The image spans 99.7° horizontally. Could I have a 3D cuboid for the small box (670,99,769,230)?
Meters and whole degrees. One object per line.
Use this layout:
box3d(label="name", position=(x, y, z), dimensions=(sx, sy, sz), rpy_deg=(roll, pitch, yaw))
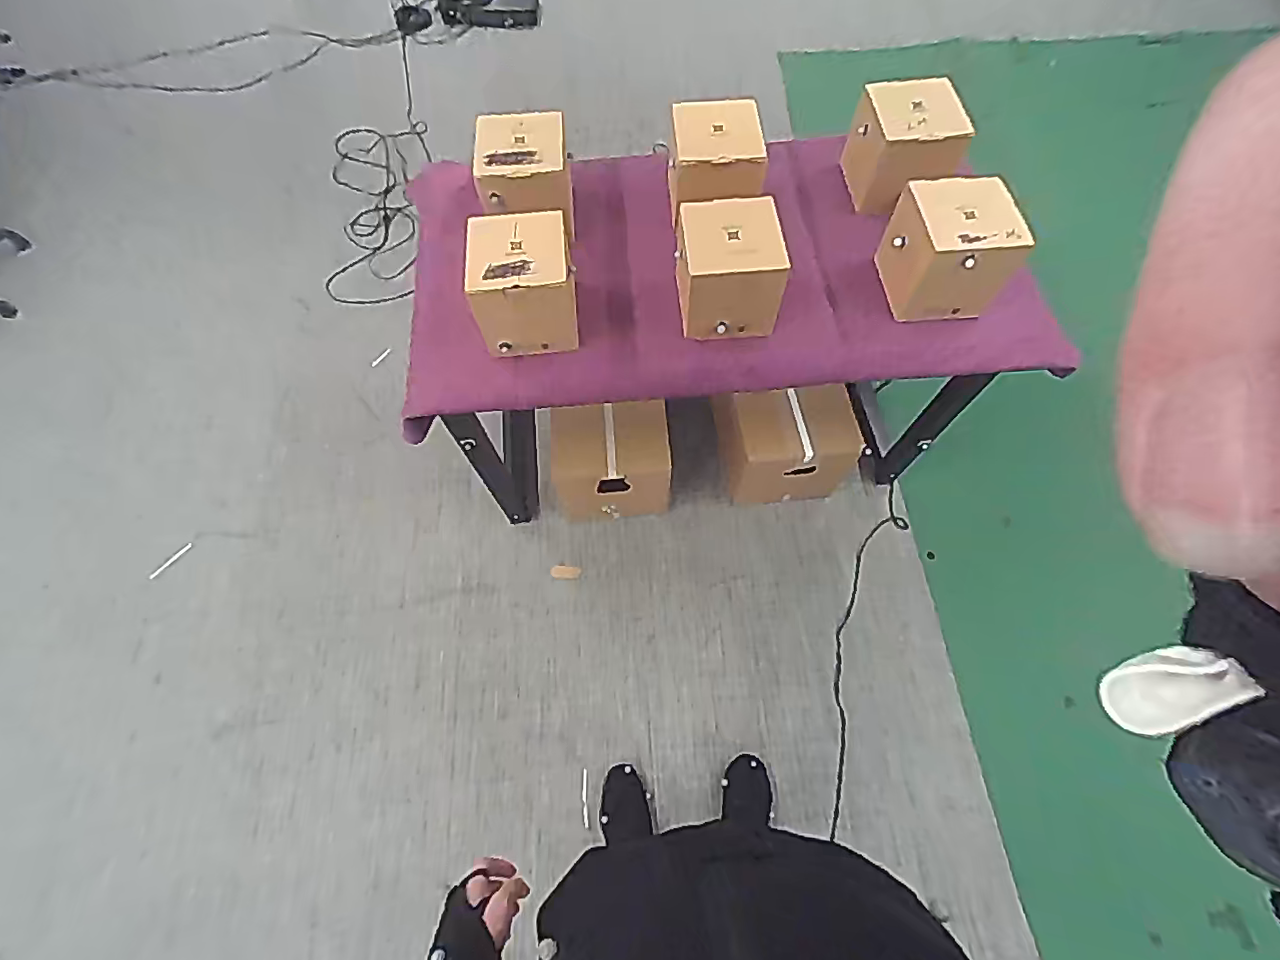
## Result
box3d(label="small box", position=(0.151, -0.625, 1.087), dimensions=(0.168, 0.176, 0.179), rpy_deg=(-3, 66, 0))

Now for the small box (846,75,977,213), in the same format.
box3d(label="small box", position=(0.534, -0.674, 1.094), dimensions=(0.168, 0.176, 0.179), rpy_deg=(-4, 66, 1))

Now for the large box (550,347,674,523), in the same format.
box3d(label="large box", position=(-0.081, -0.124, 1.589), dimensions=(0.320, 0.320, 0.408), rpy_deg=(-5, 64, -1))

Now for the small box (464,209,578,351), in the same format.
box3d(label="small box", position=(-0.203, -0.346, 0.964), dimensions=(0.168, 0.176, 0.179), rpy_deg=(-6, 64, -2))

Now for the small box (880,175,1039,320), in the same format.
box3d(label="small box", position=(0.557, -0.414, 0.975), dimensions=(0.168, 0.176, 0.179), rpy_deg=(-4, 63, 1))

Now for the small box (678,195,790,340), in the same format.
box3d(label="small box", position=(0.158, -0.376, 0.970), dimensions=(0.168, 0.176, 0.179), rpy_deg=(-4, 65, 1))
